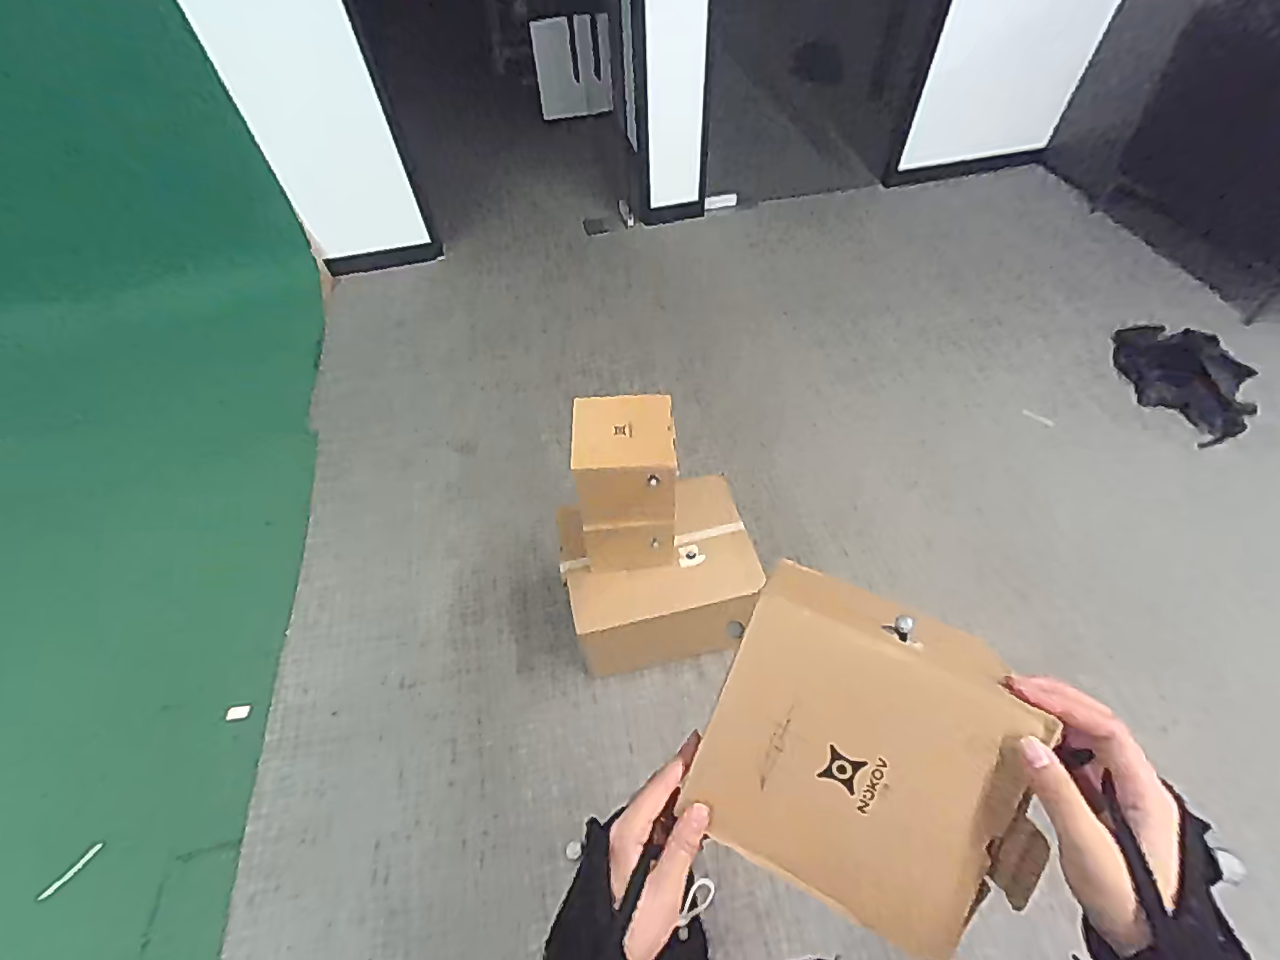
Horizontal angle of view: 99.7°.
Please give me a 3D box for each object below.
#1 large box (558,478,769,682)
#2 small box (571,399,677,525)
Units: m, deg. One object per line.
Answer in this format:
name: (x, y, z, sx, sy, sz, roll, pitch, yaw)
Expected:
large box: (0.042, 0.242, 1.291, 0.408, 0.320, 0.320, -12, 54, -7)
small box: (-0.025, -0.028, 0.988, 0.179, 0.176, 0.168, -2, 53, 0)
